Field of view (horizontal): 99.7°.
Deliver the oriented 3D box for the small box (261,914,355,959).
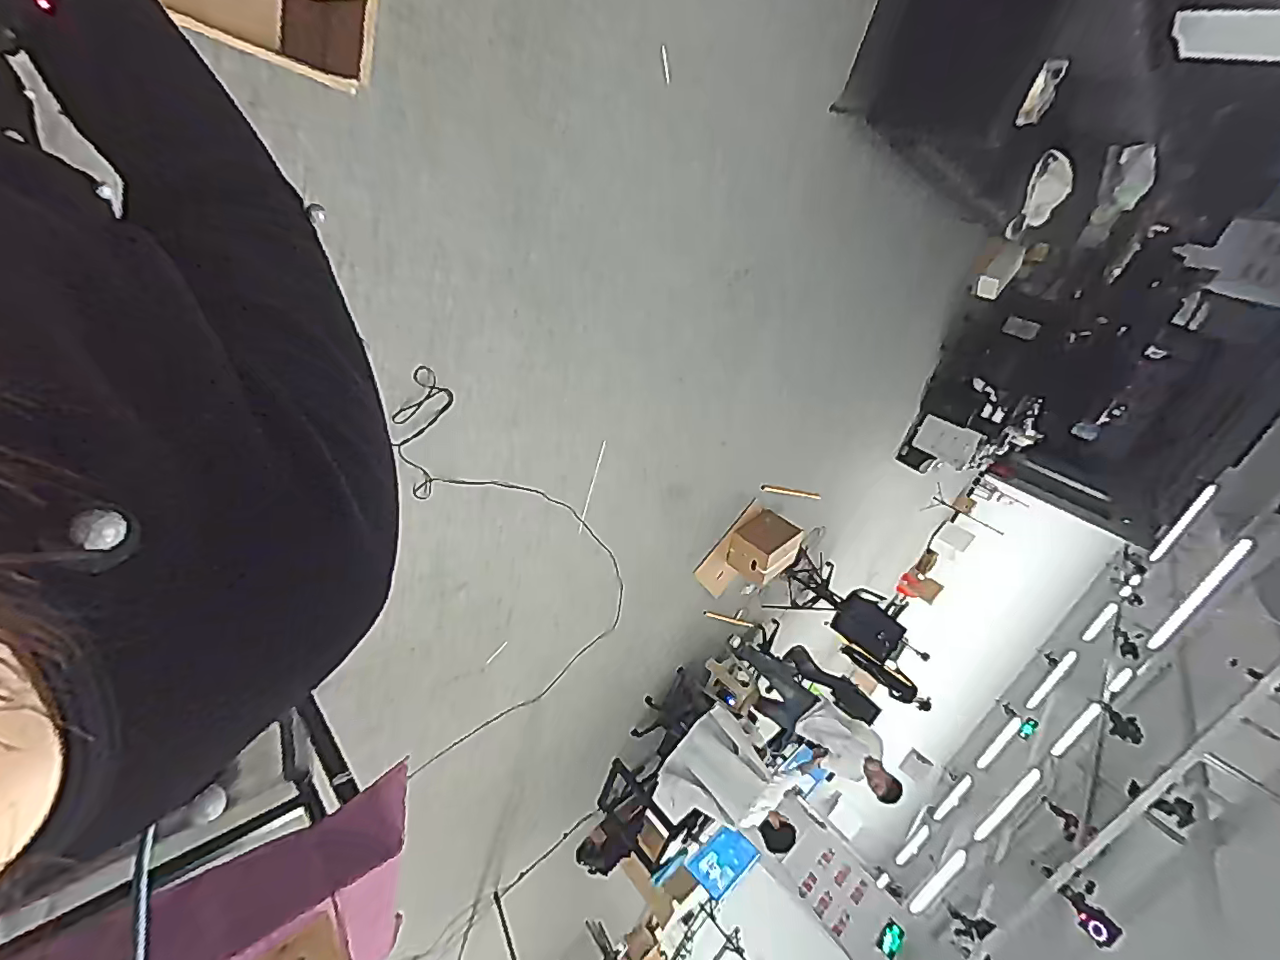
[{"bbox_3d":[-0.800,1.208,1.306,0.168,0.176,0.179,-12,129,-44],"label":"small box"}]
